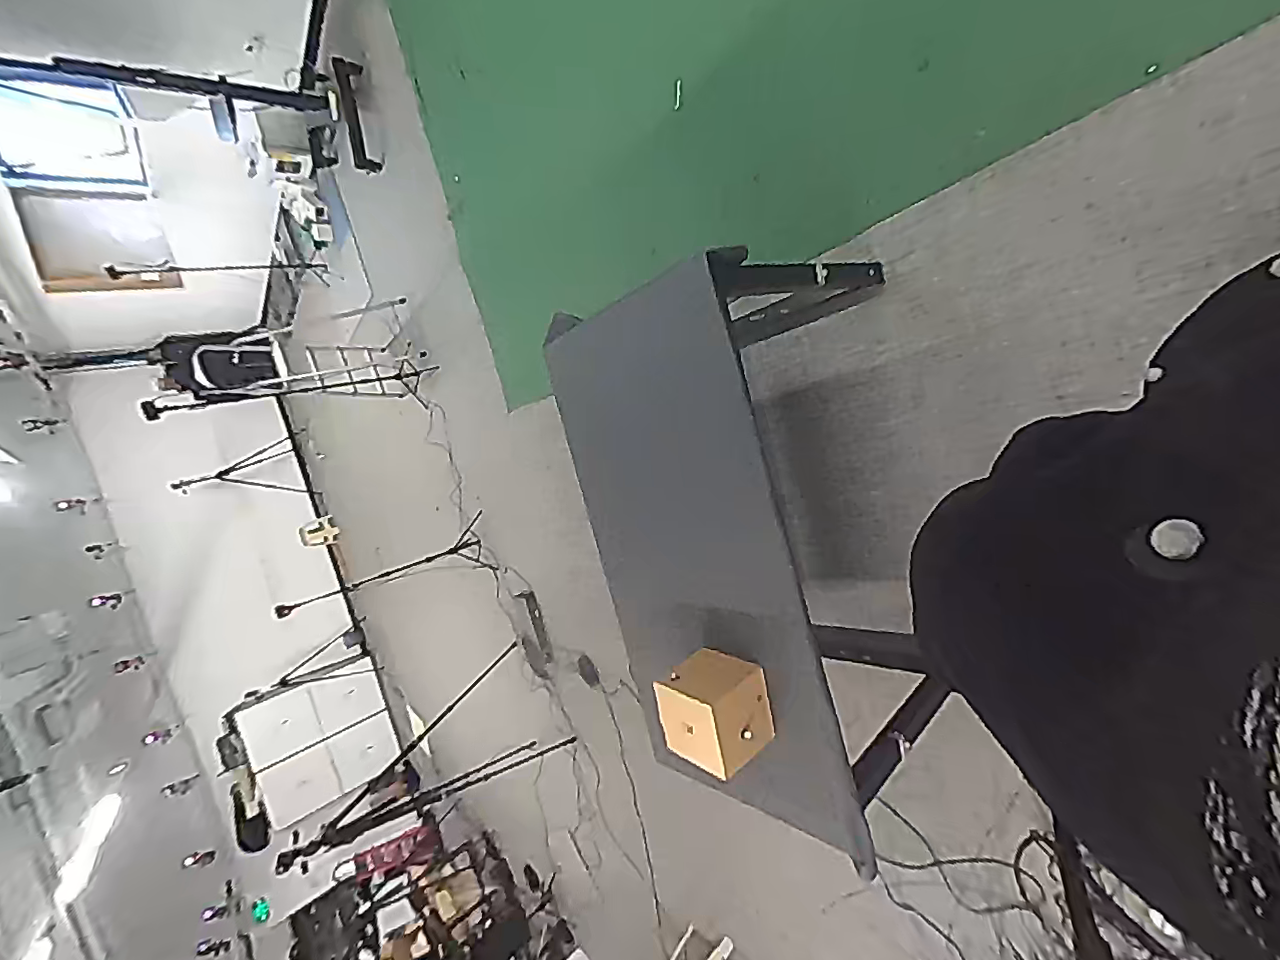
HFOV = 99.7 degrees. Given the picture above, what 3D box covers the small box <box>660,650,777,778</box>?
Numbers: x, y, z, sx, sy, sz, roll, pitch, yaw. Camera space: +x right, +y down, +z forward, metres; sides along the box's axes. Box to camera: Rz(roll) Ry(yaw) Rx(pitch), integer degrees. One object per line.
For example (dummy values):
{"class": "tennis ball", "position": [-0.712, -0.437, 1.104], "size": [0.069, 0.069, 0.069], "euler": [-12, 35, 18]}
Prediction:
{"class": "small box", "position": [0.175, 0.487, 1.158], "size": [0.179, 0.176, 0.168], "euler": [-2, 103, 52]}
